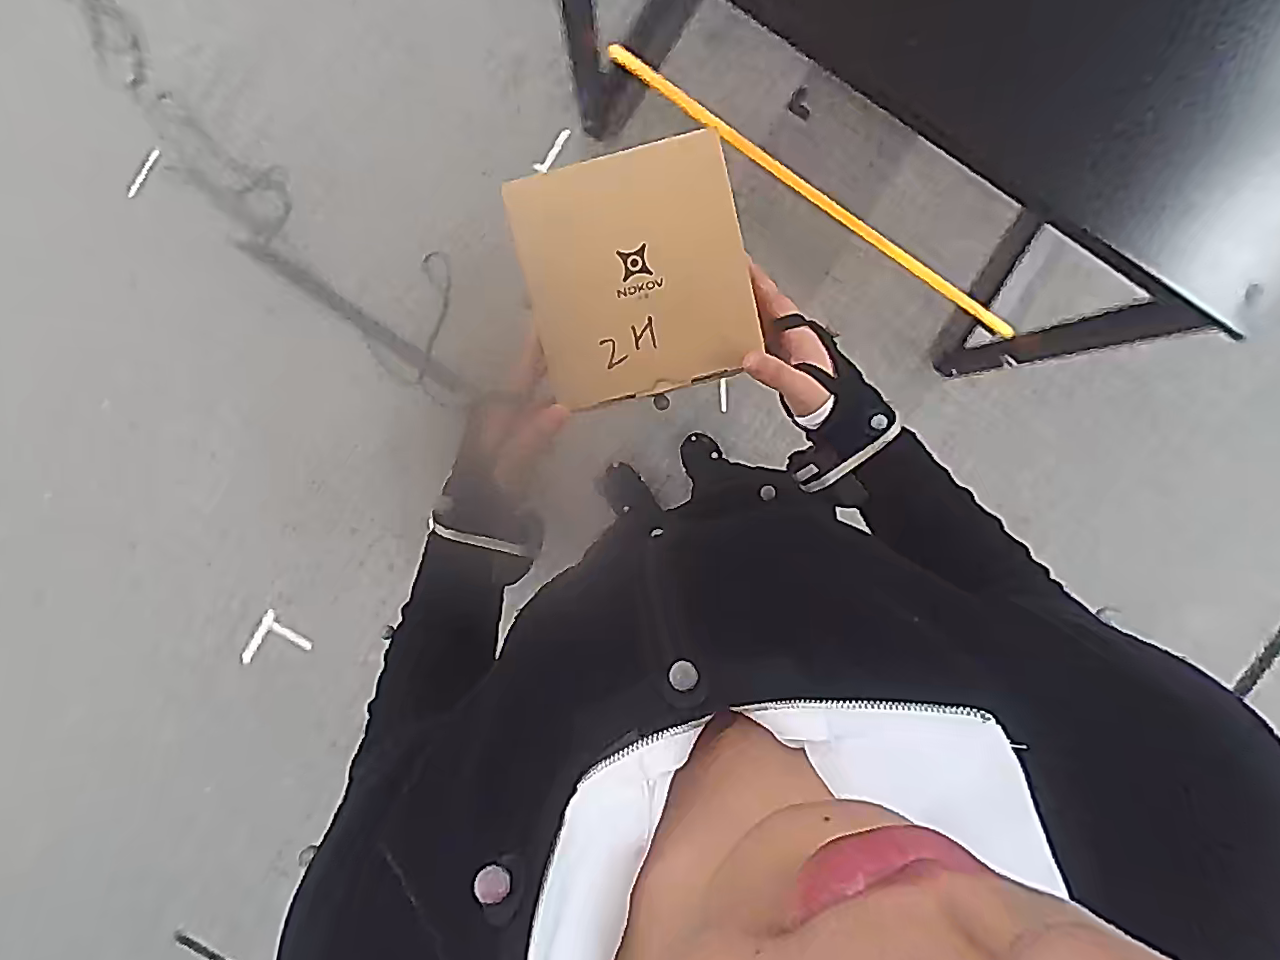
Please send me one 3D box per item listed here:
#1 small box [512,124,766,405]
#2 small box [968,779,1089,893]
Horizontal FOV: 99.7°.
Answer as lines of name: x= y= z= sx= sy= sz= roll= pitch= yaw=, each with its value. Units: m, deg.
small box: x=0.001 y=-0.169 z=0.484 sx=0.168 sy=0.176 sz=0.179 roll=-12 pitch=97 yaw=3
small box: x=1.060 y=0.969 z=1.493 sx=0.179 sy=0.176 sz=0.168 roll=33 pitch=94 yaw=-2
